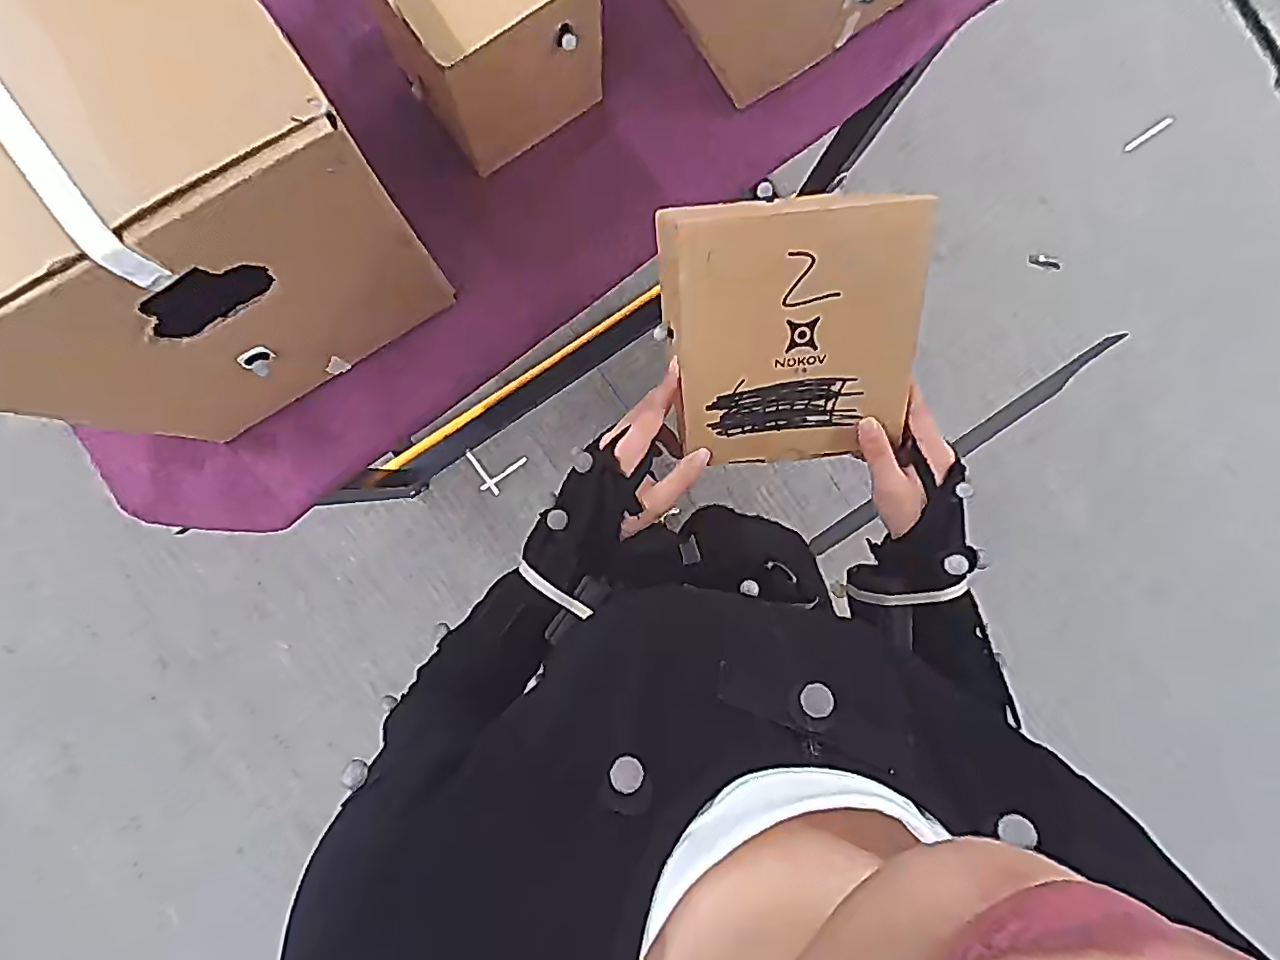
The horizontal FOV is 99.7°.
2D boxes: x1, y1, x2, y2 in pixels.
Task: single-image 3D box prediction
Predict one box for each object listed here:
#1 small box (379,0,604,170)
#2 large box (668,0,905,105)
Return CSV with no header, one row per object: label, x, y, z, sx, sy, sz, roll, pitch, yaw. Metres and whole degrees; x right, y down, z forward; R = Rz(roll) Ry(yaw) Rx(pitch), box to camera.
small box,-0.154,-0.472,0.556,0.179,0.176,0.168,-35,91,-4
large box,0.141,-0.693,0.509,0.320,0.320,0.408,-35,90,-3
